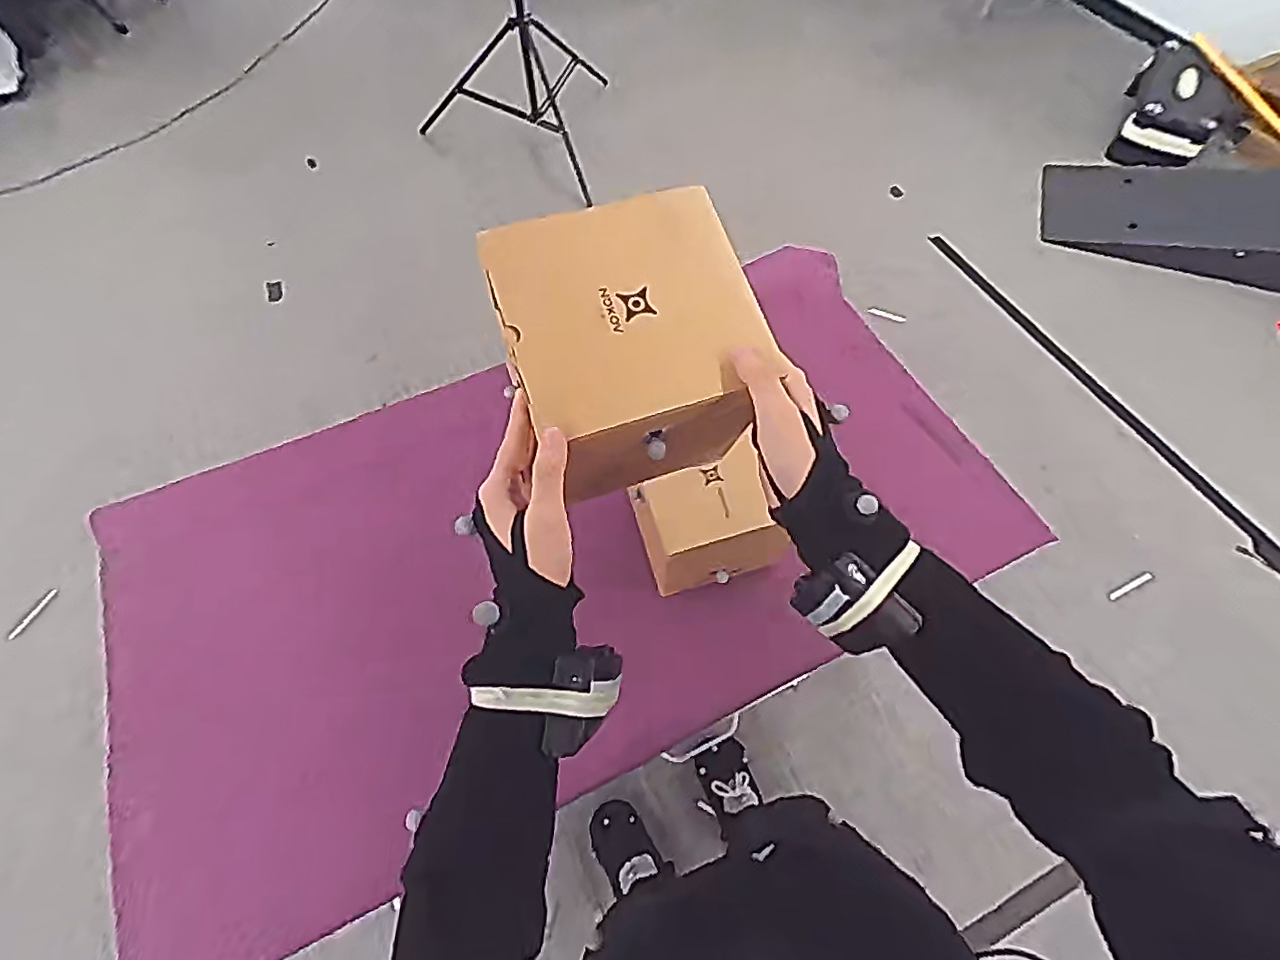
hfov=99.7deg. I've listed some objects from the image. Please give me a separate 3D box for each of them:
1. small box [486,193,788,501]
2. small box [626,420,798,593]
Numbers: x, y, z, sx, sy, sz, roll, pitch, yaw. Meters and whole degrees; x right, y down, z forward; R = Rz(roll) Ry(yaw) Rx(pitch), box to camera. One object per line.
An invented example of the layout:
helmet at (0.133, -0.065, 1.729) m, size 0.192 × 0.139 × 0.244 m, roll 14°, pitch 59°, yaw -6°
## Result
small box at (-0.010, -0.096, 0.450) m, size 0.179 × 0.176 × 0.168 m, roll -17°, pitch 77°, yaw -9°
small box at (0.077, 0.026, 0.704) m, size 0.168 × 0.176 × 0.179 m, roll -15°, pitch 64°, yaw -7°
